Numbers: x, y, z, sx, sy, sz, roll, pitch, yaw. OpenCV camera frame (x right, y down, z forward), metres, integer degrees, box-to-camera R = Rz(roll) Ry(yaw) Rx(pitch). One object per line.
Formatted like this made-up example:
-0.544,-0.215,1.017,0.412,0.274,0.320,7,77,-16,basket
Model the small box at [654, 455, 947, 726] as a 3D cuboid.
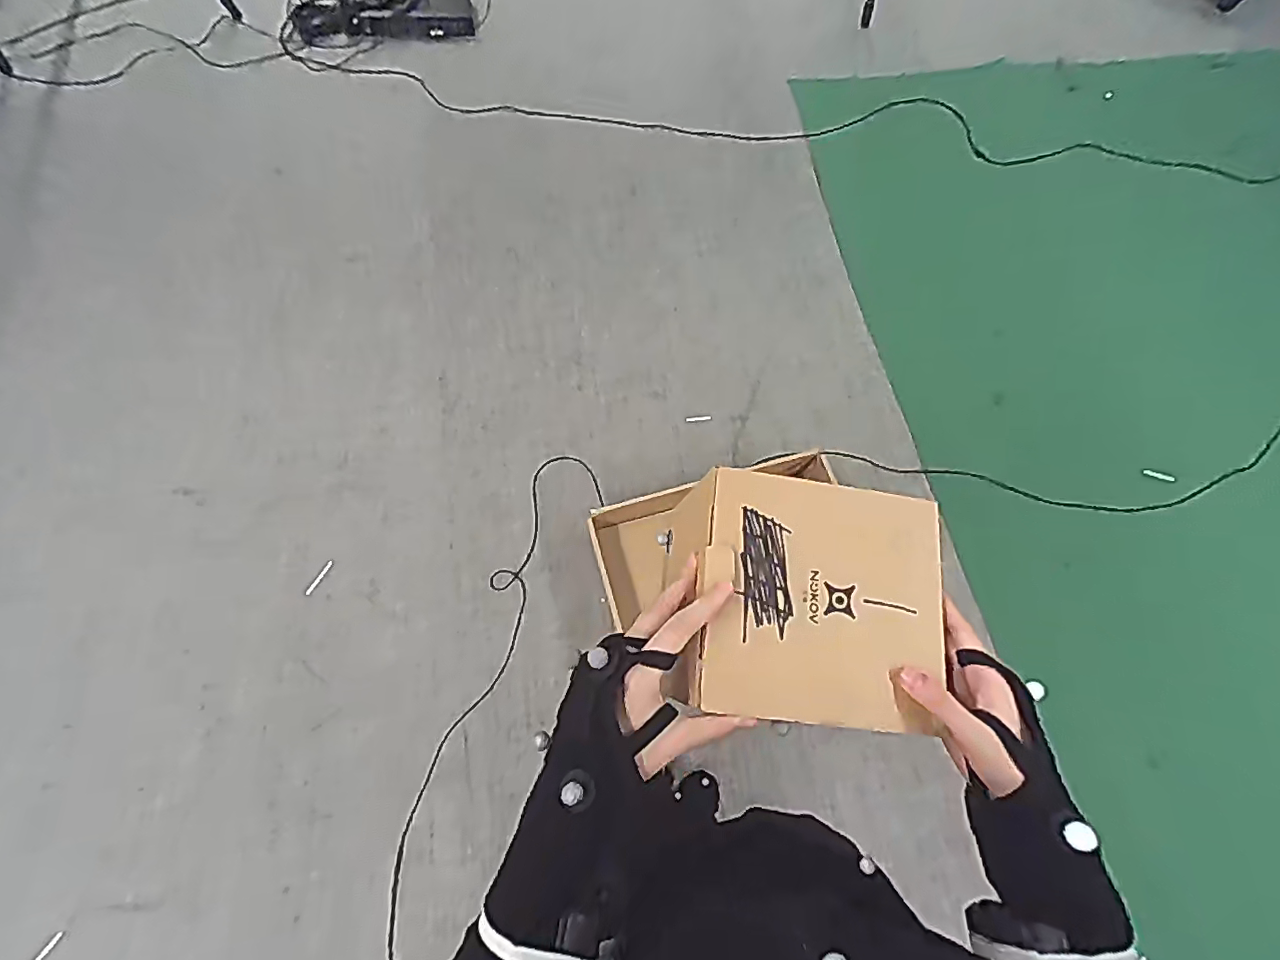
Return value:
0.115,0.095,0.447,0.179,0.176,0.168,10,72,-8,small box
